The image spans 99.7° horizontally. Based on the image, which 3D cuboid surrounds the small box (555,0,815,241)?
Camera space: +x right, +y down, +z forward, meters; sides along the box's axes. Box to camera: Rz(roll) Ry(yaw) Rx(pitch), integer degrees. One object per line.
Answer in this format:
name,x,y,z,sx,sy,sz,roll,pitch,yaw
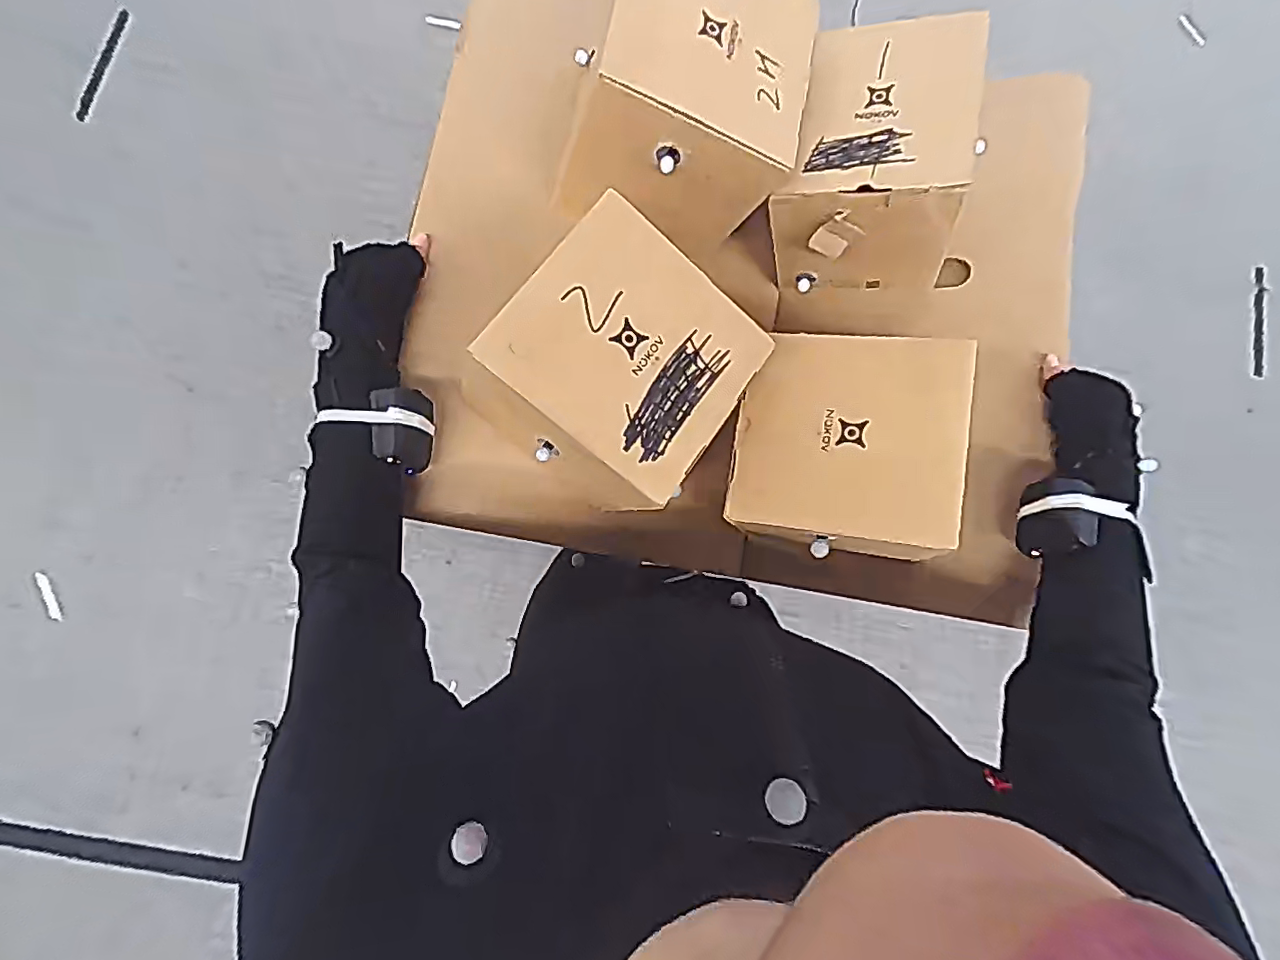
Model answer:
small box,0.031,-0.359,0.510,0.179,0.176,0.168,15,82,-19
